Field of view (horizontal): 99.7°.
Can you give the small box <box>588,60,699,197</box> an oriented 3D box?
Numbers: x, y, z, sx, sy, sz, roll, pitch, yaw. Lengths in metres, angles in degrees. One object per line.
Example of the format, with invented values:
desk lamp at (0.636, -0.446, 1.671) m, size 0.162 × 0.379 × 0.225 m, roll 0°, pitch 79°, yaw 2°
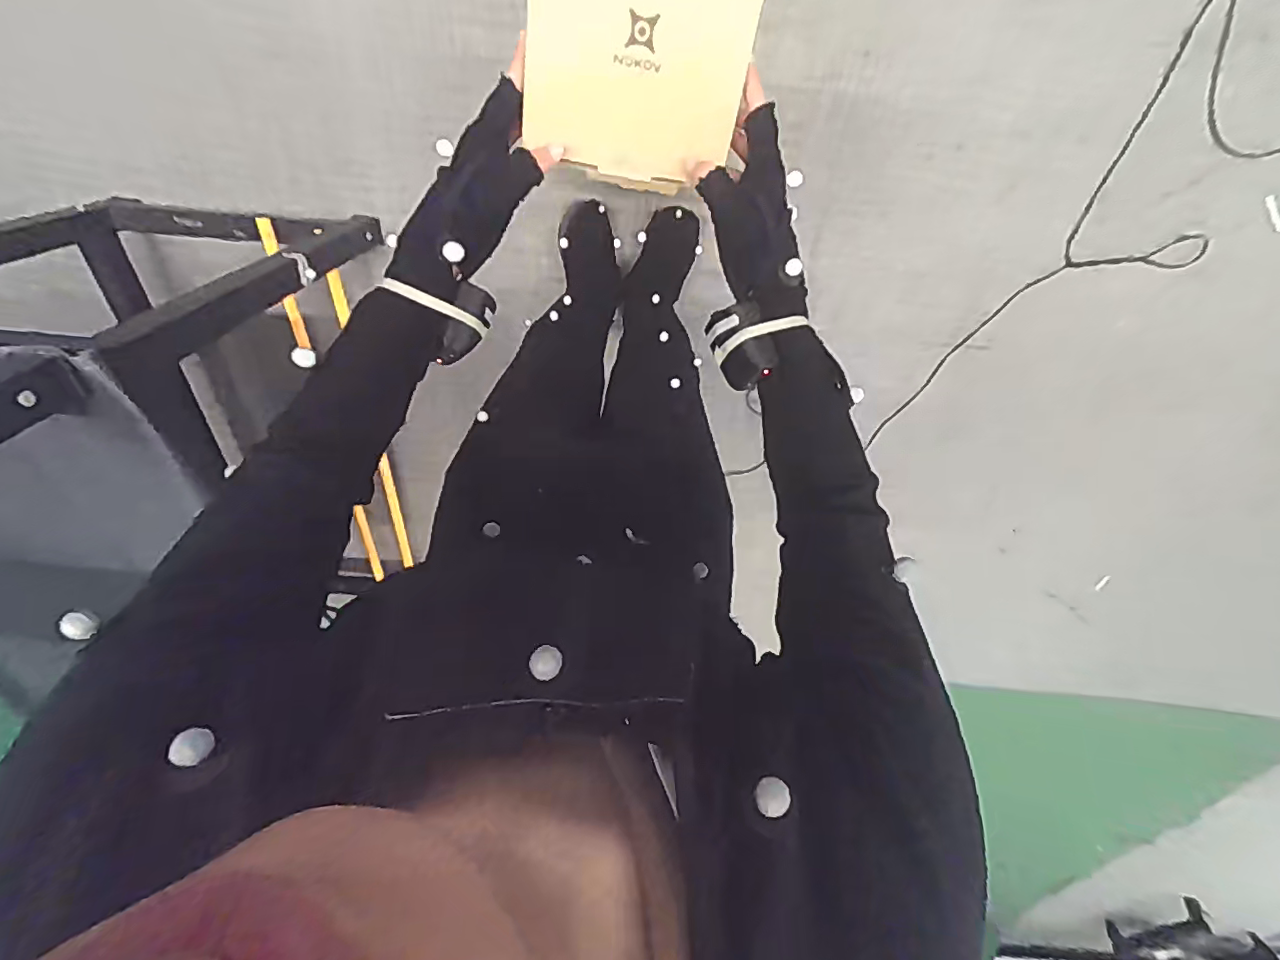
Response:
small box at (0.004, -0.642, 0.989) m, size 0.168 × 0.176 × 0.179 m, roll 10°, pitch 127°, yaw -3°
